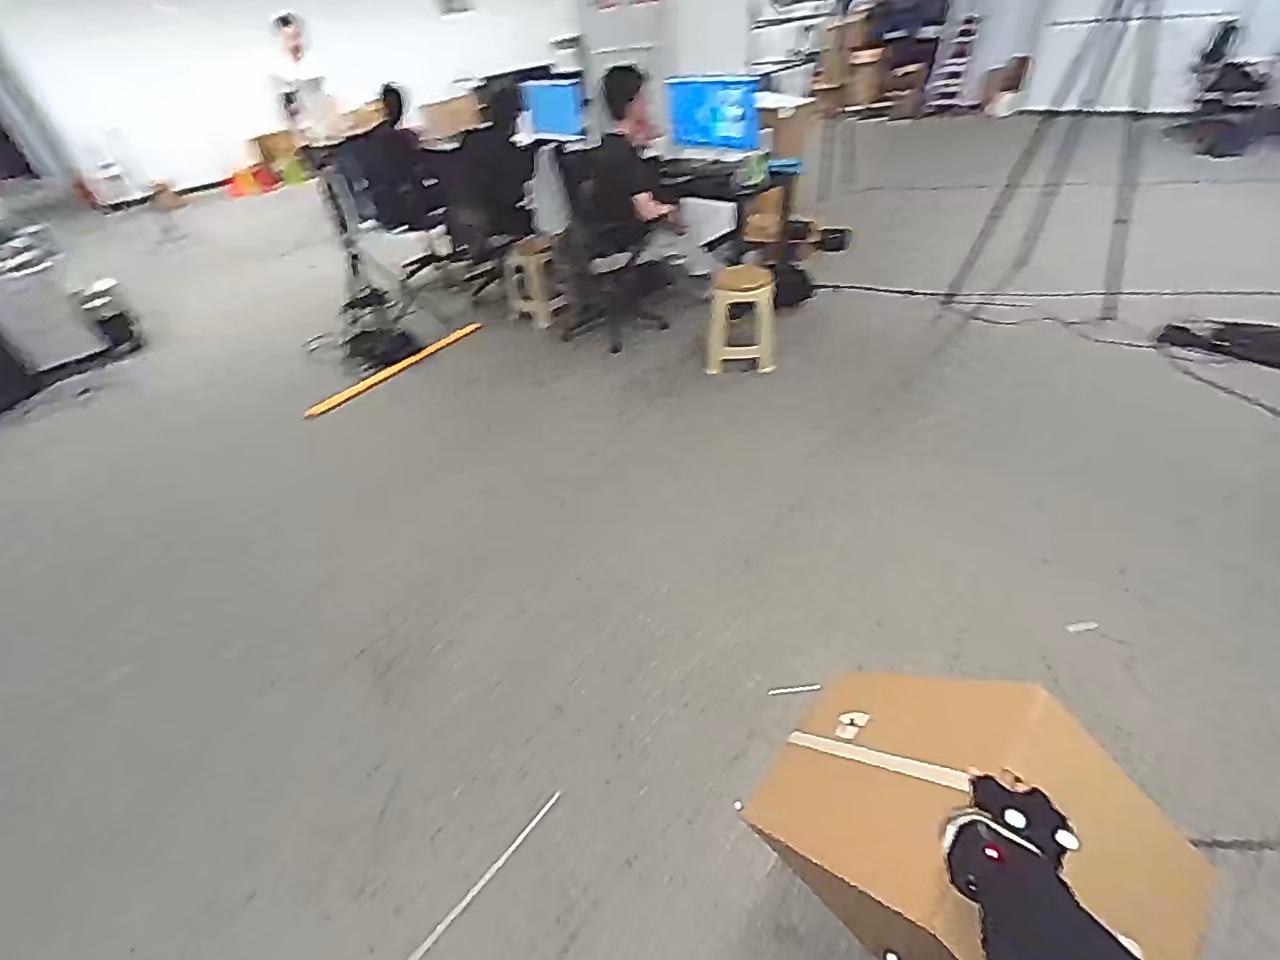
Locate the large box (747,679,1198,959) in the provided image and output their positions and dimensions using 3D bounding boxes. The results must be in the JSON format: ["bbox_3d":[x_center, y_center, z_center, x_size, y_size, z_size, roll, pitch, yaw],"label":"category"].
[{"bbox_3d":[0.439,0.519,0.784,0.320,0.408,0.320,47,66,2],"label":"large box"}]
